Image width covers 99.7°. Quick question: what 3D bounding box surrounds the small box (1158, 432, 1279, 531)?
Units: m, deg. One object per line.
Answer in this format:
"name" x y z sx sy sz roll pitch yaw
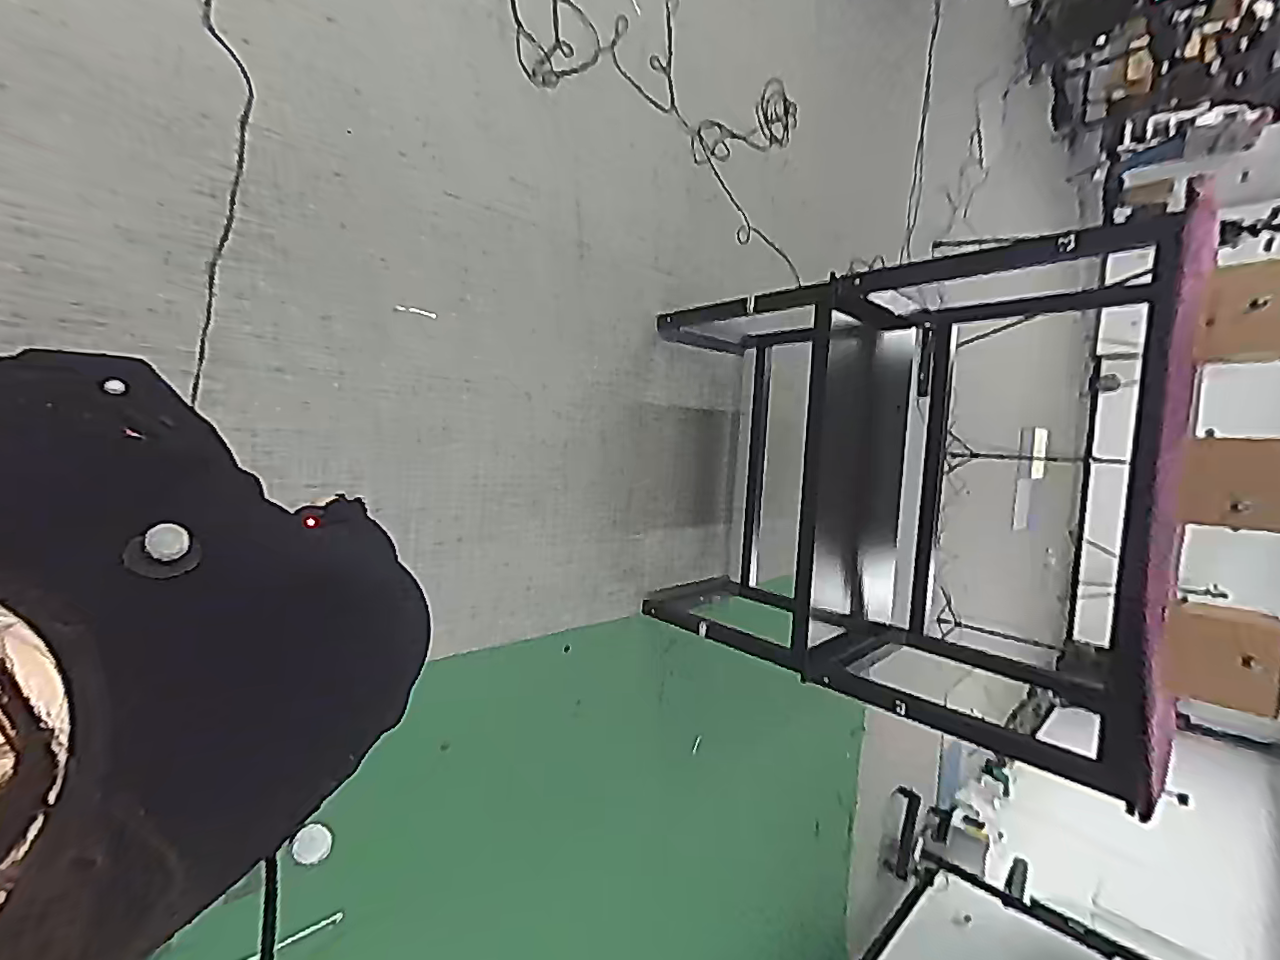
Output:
"small box" 1.153 -0.004 1.074 0.168 0.176 0.179 -3 97 -44

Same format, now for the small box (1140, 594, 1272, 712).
"small box" 1.156 0.342 1.116 0.168 0.176 0.179 0 95 -46

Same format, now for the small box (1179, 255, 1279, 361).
"small box" 1.165 -0.323 1.038 0.179 0.176 0.168 -3 99 -43
